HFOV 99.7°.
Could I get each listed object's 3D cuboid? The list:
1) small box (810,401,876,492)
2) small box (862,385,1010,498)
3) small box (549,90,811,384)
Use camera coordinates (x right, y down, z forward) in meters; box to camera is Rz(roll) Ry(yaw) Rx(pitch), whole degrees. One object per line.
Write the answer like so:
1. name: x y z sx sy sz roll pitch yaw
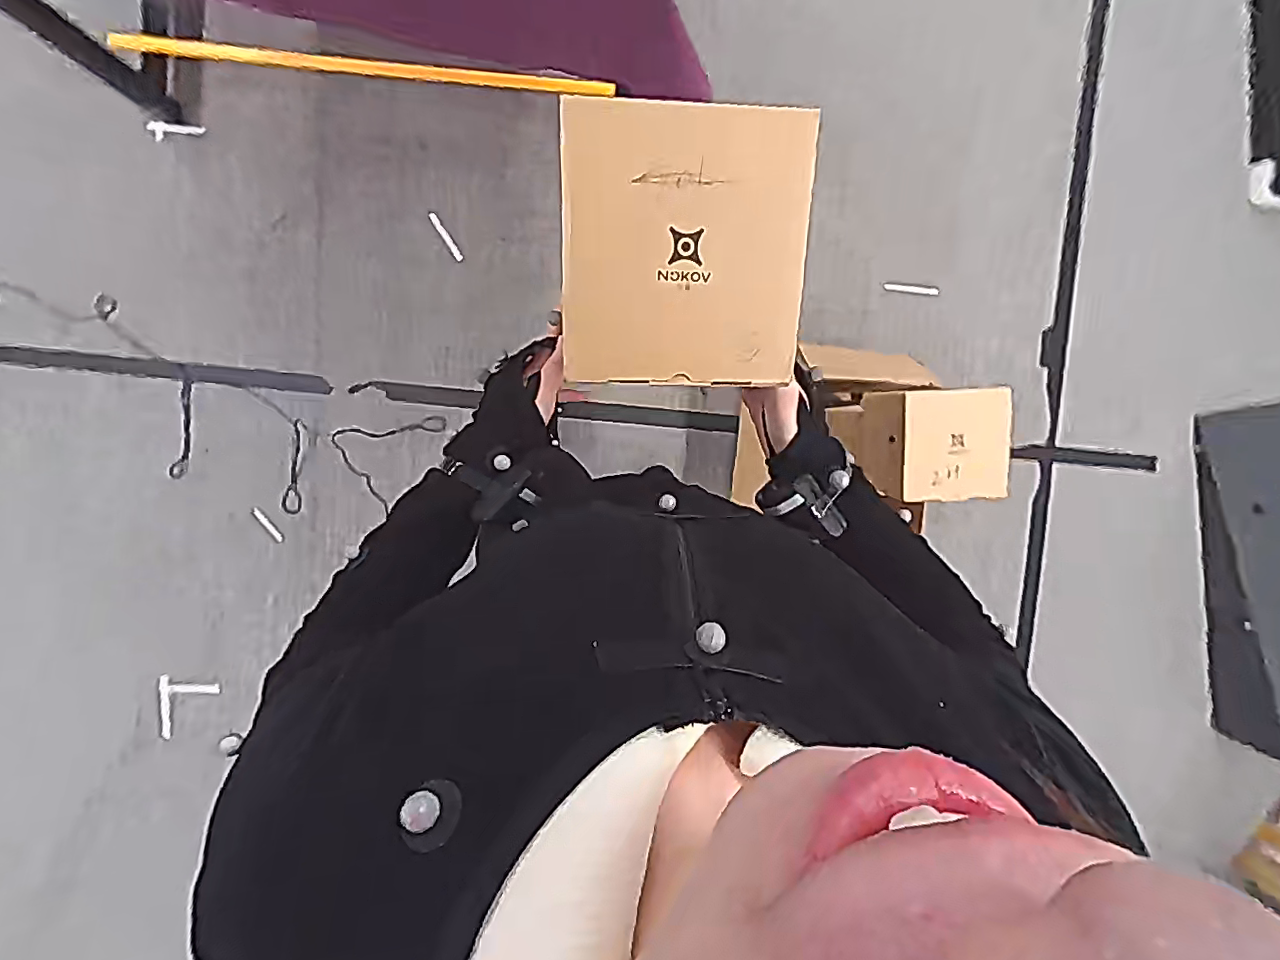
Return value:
1. small box: 0.512 -0.086 1.258 0.168 0.176 0.179 -16 99 2
2. small box: 0.494 -0.069 0.928 0.168 0.176 0.179 -2 99 1
3. small box: 0.018 -0.175 0.432 0.168 0.176 0.179 -1 106 -5
